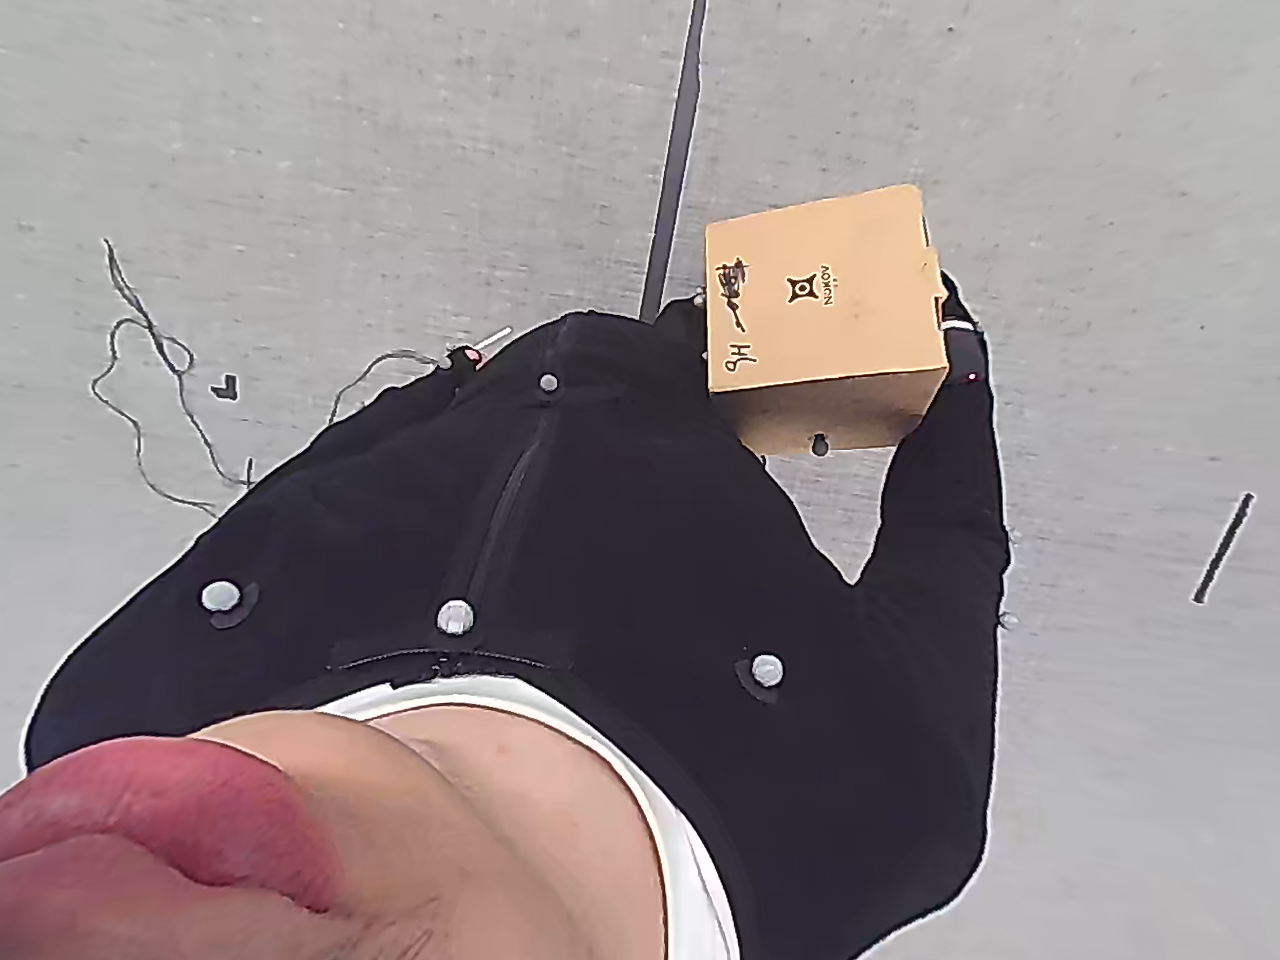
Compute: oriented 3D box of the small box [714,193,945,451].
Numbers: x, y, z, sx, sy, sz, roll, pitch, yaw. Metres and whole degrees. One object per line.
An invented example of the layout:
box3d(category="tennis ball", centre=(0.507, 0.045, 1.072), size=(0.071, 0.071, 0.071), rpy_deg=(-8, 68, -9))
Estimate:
box3d(category="small box", centre=(0.169, -0.134, 0.523), size=(0.179, 0.176, 0.168), rpy_deg=(-3, 72, 16))
